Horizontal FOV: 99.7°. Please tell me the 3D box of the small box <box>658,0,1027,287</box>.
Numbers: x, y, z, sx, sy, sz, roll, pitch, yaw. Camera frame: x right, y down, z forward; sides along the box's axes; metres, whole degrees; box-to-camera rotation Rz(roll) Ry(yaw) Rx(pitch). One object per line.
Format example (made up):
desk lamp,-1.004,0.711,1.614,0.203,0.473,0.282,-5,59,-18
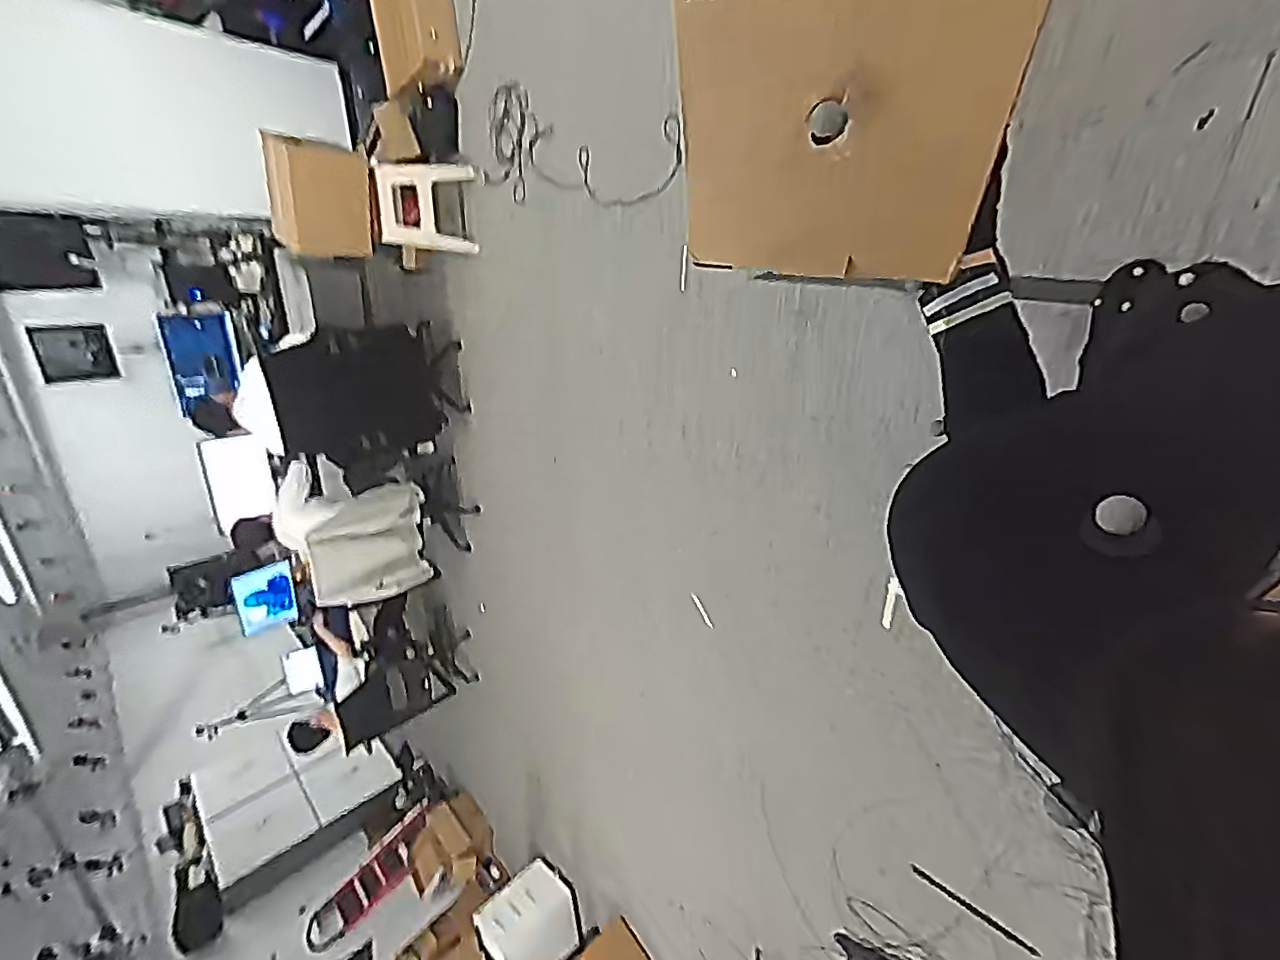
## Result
small box,0.117,-0.240,0.321,0.168,0.179,0.176,13,143,20
